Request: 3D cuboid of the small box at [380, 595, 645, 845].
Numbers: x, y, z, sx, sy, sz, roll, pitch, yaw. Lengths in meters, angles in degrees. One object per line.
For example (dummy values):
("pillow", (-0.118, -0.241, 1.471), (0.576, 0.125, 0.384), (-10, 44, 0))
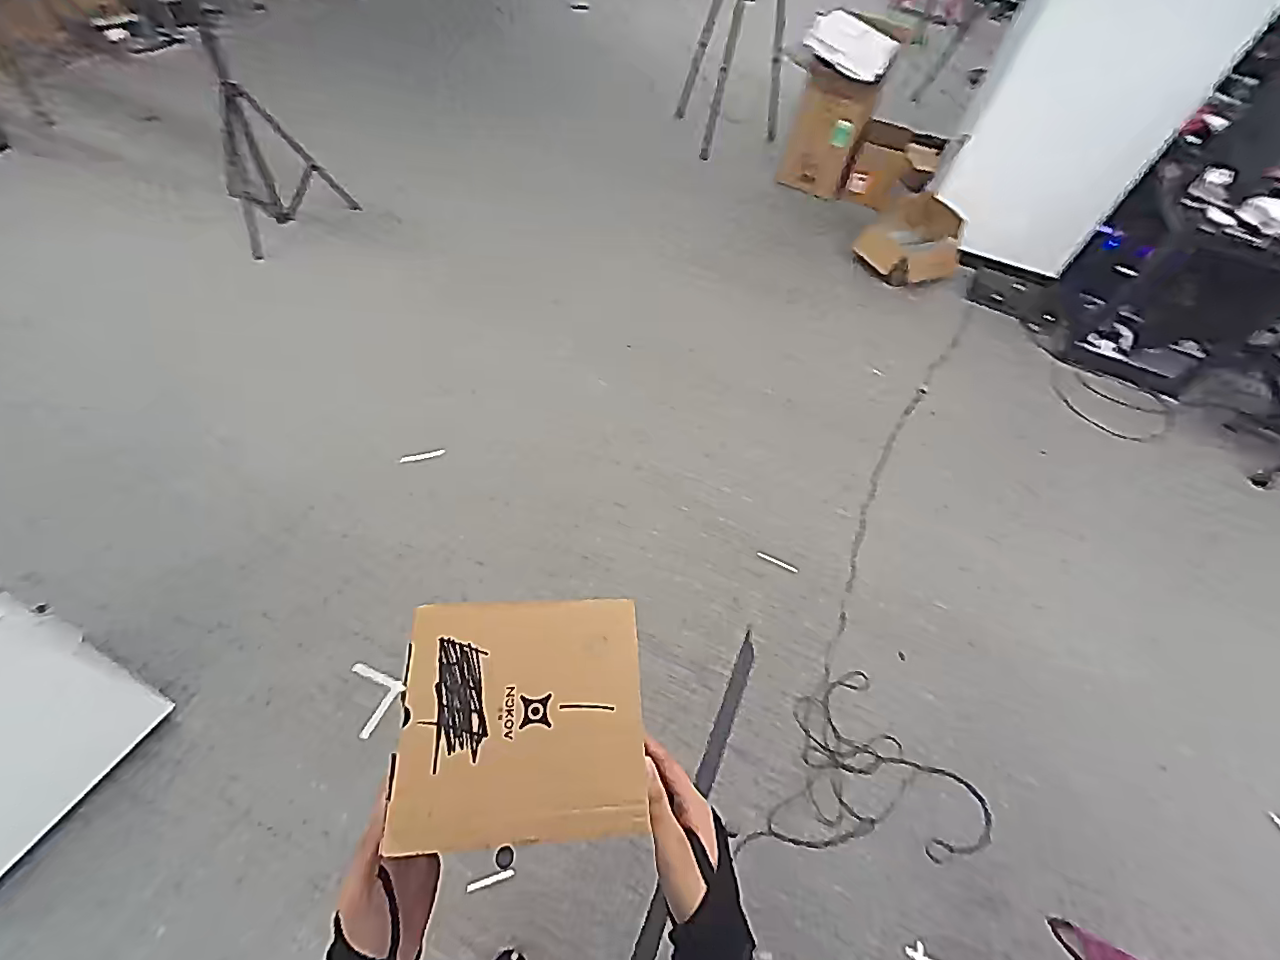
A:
("small box", (-0.097, 0.207, 0.465), (0.179, 0.176, 0.168), (0, 59, -9))
